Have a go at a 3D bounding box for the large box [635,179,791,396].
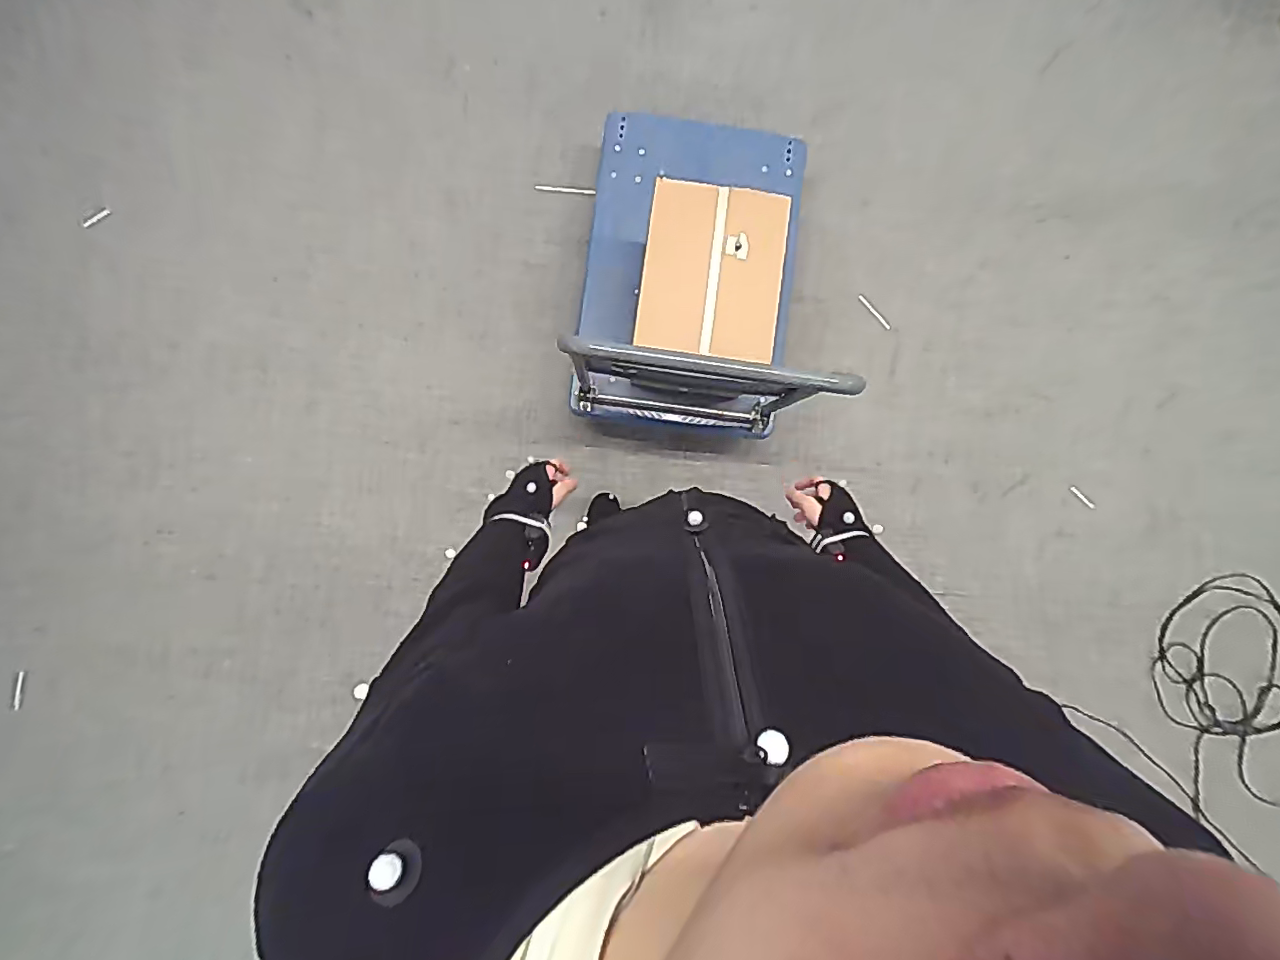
[{"bbox_3d":[0.161,-0.448,1.342,0.320,0.320,0.408,8,86,-2],"label":"large box"}]
